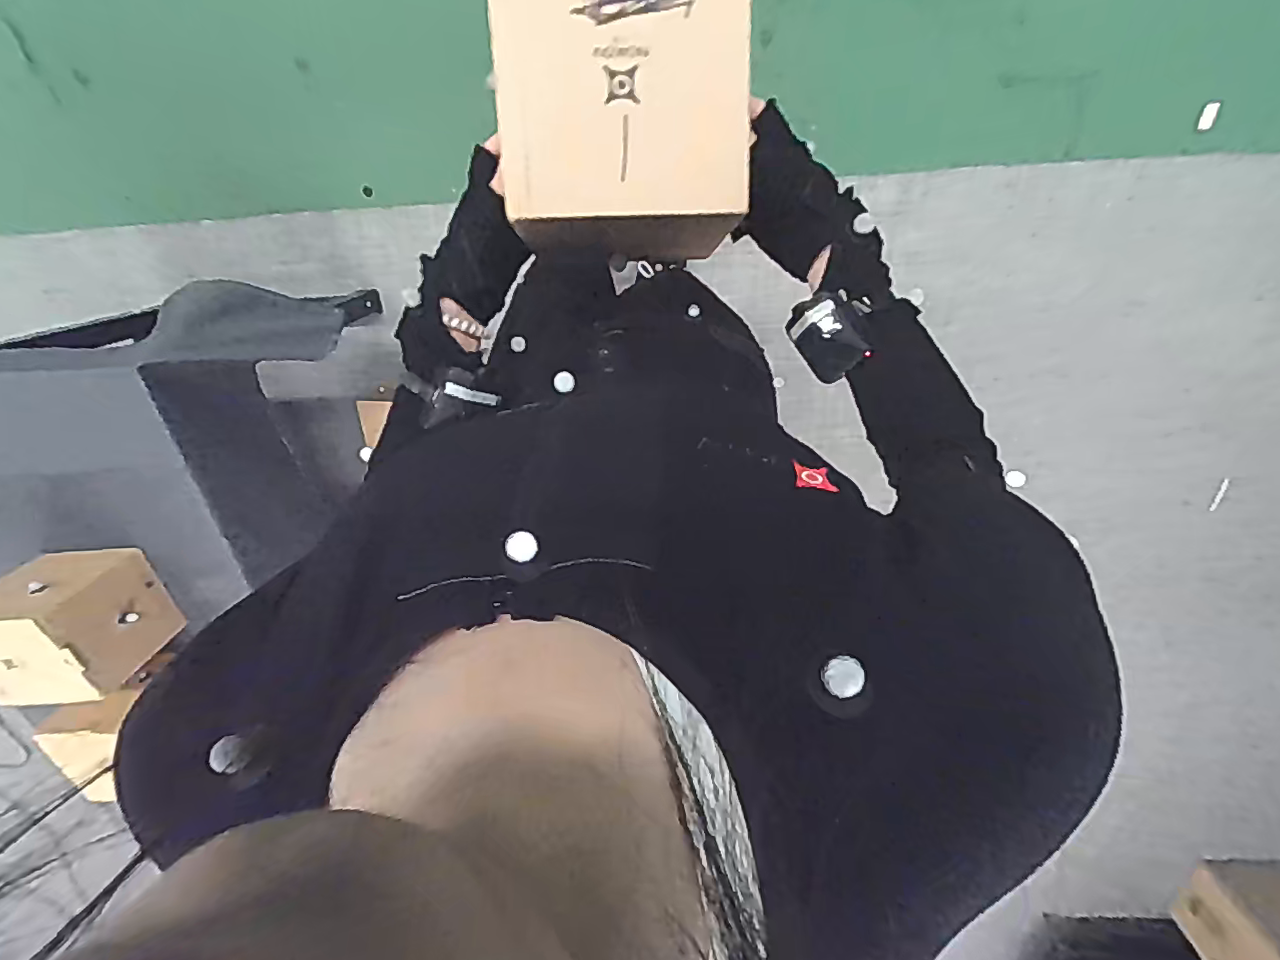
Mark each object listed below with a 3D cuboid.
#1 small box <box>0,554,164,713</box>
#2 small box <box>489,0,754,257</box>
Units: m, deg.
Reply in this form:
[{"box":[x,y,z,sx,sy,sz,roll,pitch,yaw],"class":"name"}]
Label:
[{"box":[-0.885,0.226,0.820,0.179,0.176,0.168,-5,118,3],"class":"small box"},{"box":[-0.015,-0.281,0.415,0.168,0.176,0.179,-3,103,-2],"class":"small box"}]
